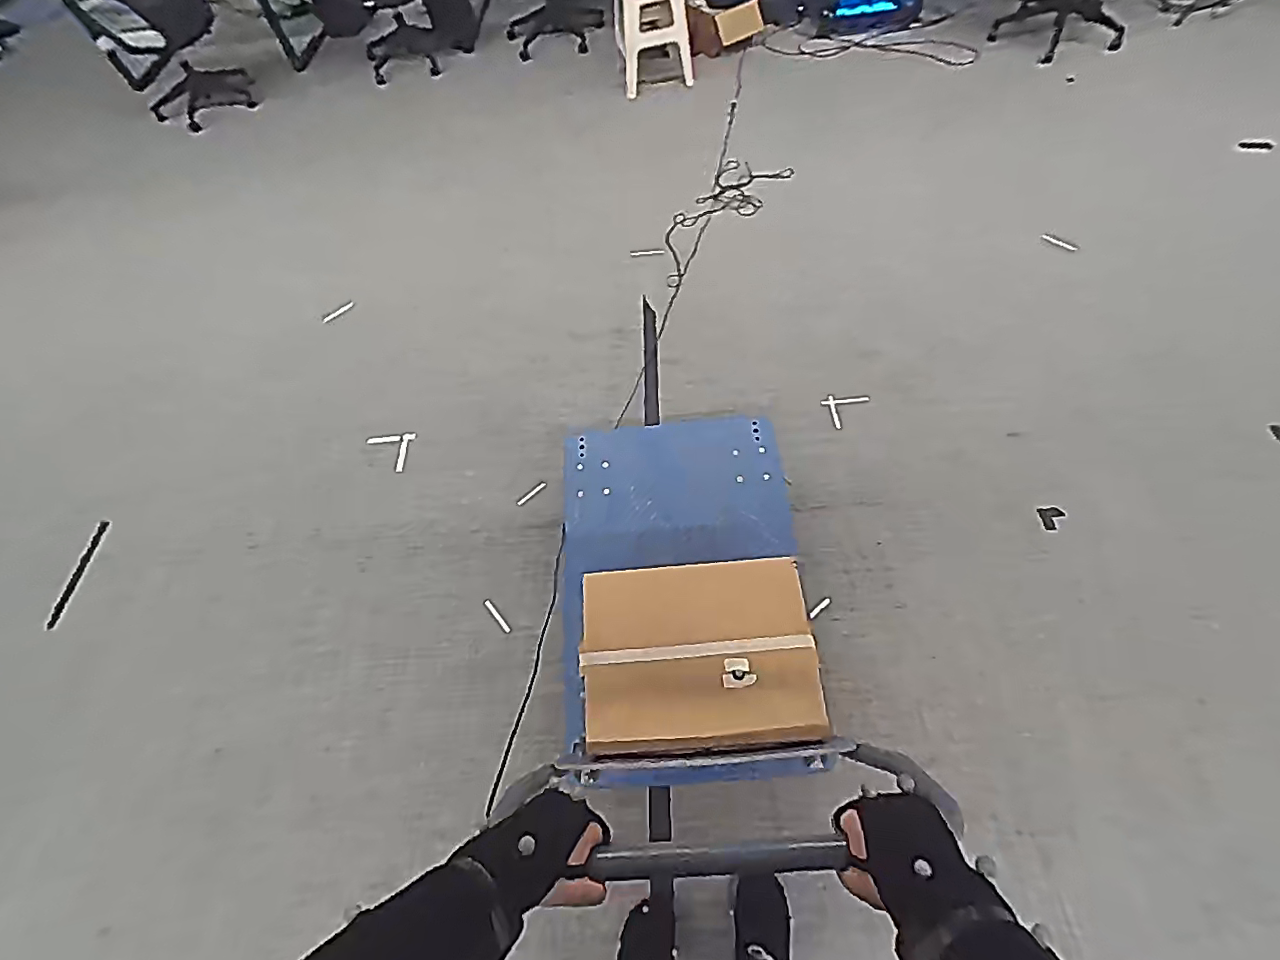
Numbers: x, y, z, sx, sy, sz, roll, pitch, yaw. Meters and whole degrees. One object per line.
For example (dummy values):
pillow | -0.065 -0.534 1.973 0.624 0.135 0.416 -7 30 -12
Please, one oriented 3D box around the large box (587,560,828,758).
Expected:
large box | 0.116 0.376 1.103 0.408 0.320 0.320 -5 64 2
